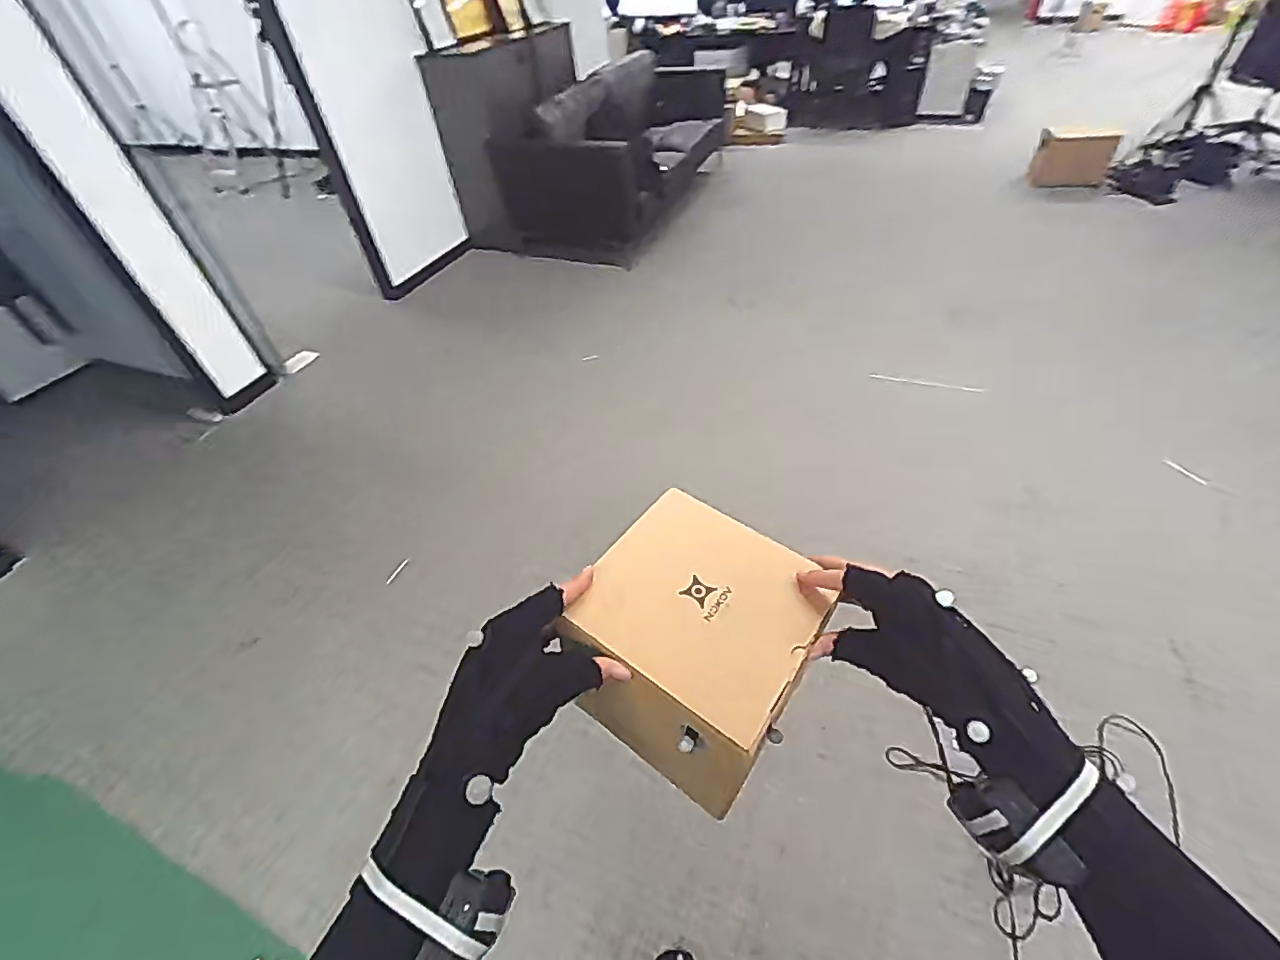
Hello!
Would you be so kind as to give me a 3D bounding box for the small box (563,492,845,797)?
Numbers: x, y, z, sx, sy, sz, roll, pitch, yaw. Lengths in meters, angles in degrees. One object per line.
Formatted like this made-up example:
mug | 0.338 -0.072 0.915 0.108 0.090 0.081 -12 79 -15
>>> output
small box | 0.051 0.149 0.494 0.179 0.176 0.168 30 52 24
